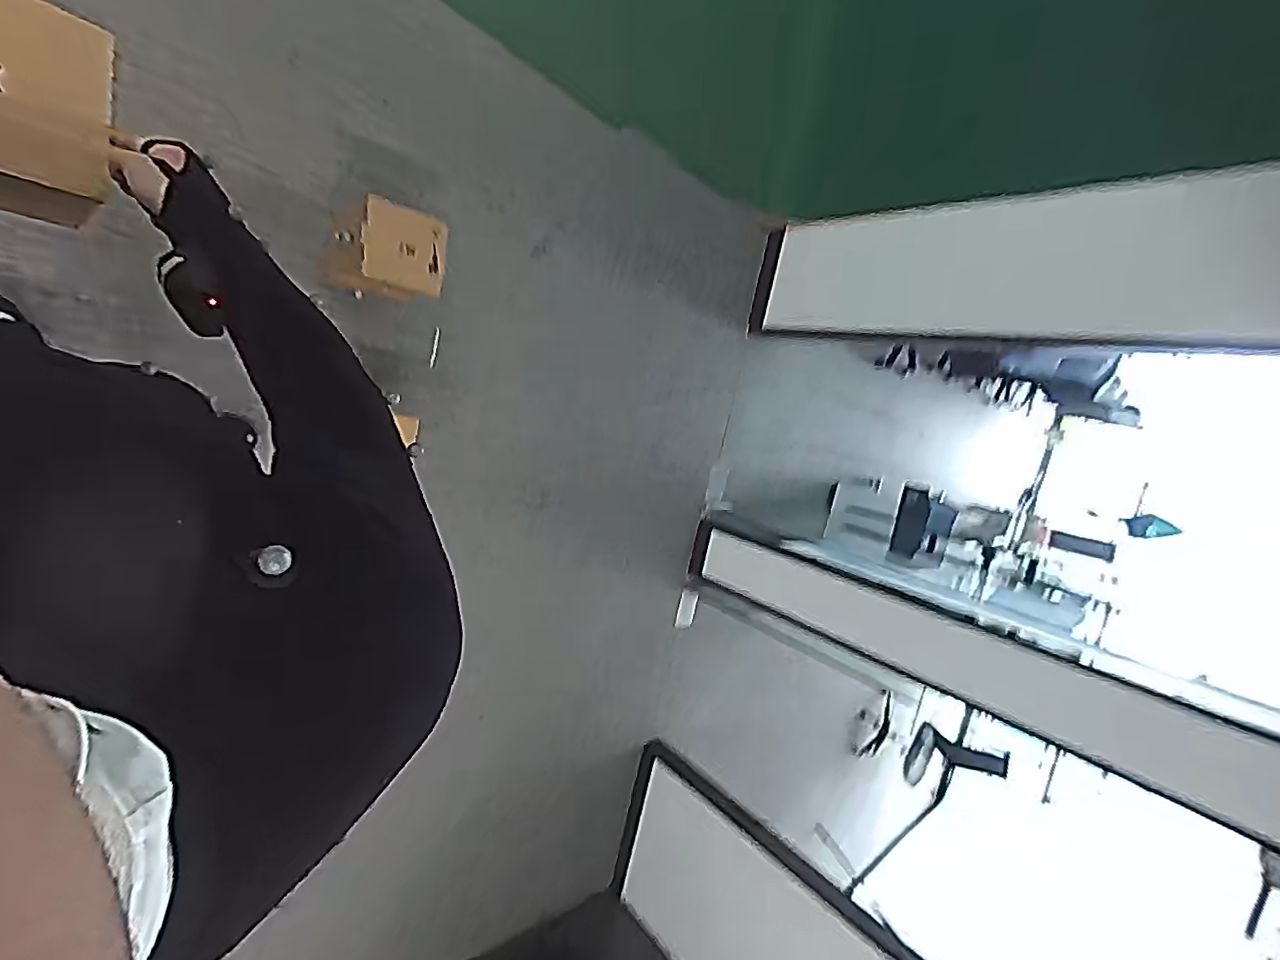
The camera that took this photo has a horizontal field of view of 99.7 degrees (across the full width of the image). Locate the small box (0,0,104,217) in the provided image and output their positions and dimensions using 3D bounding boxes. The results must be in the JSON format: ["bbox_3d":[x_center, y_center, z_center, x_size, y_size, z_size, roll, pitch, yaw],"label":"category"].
[{"bbox_3d":[-0.644,-0.370,0.514,0.179,0.176,0.168,-1,97,-50],"label":"small box"}]

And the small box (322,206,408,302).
[{"bbox_3d":[-0.689,-0.564,1.371,0.168,0.176,0.179,7,99,-44],"label":"small box"}]

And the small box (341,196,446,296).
[{"bbox_3d":[-0.577,-0.531,1.256,0.179,0.176,0.168,2,101,-43],"label":"small box"}]
